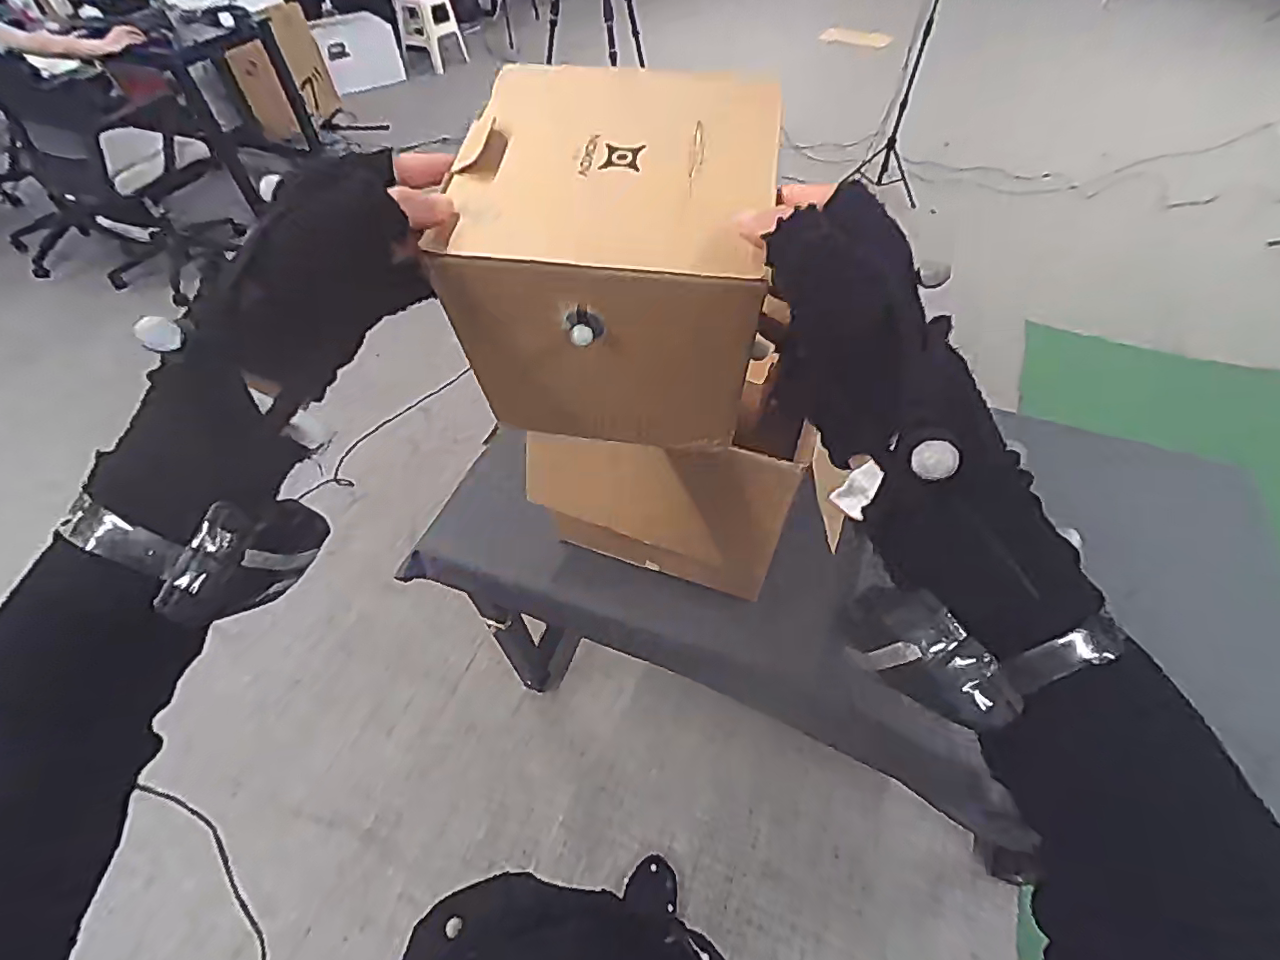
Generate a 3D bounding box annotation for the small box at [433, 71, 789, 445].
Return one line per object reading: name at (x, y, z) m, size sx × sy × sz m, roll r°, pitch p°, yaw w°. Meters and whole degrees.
small box at (-0.006, -0.139, 0.372) m, size 0.179 × 0.176 × 0.168 m, roll 8°, pitch 66°, yaw 5°
